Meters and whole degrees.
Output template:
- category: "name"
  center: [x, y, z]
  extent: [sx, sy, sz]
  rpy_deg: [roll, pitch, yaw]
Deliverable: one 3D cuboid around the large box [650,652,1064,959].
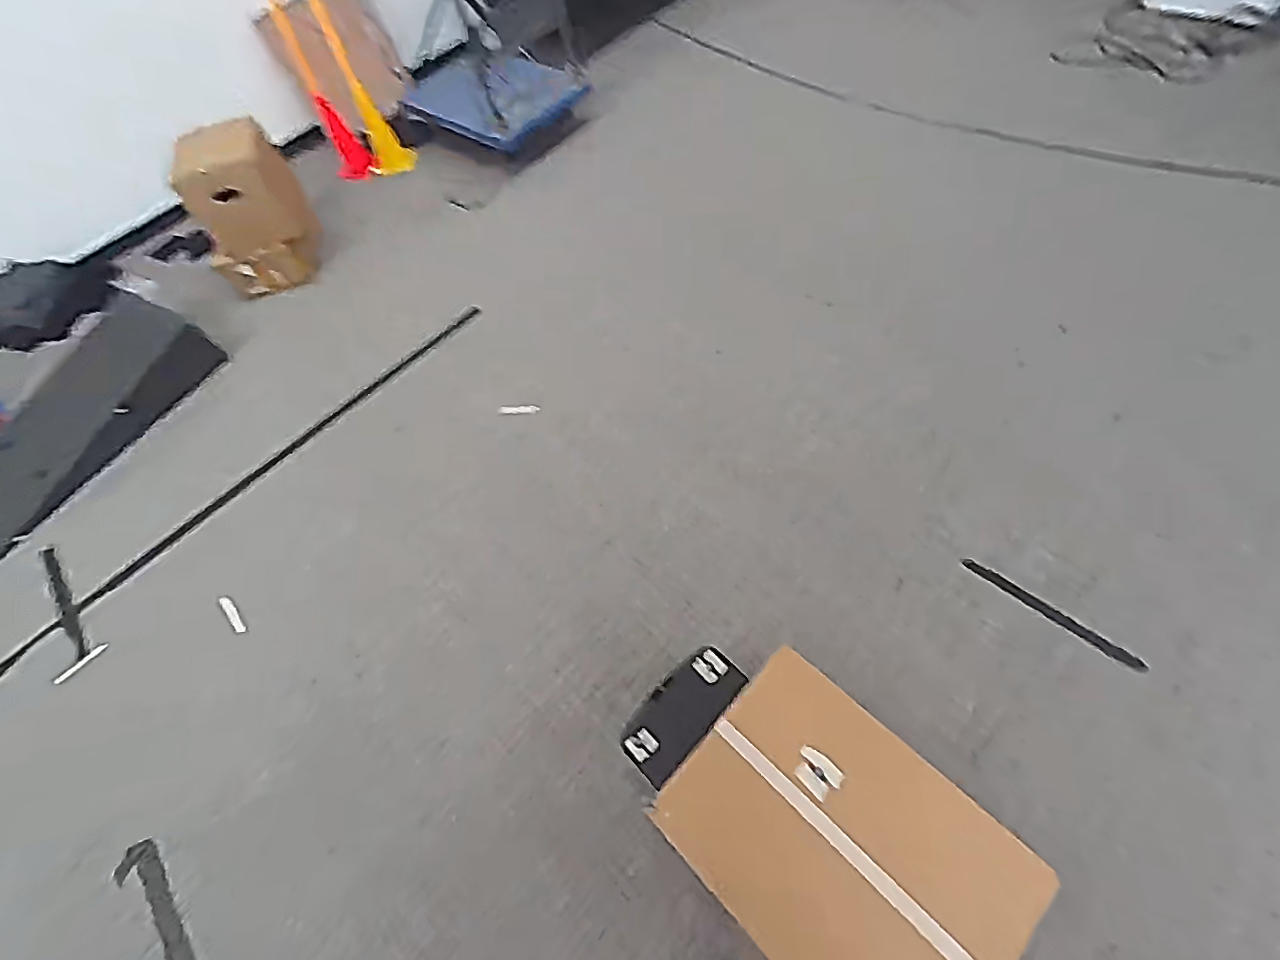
- category: "large box"
  center: [0.282, 0.540, 0.806]
  extent: [0.320, 0.320, 0.408]
  rpy_deg: [-43, 60, -16]
